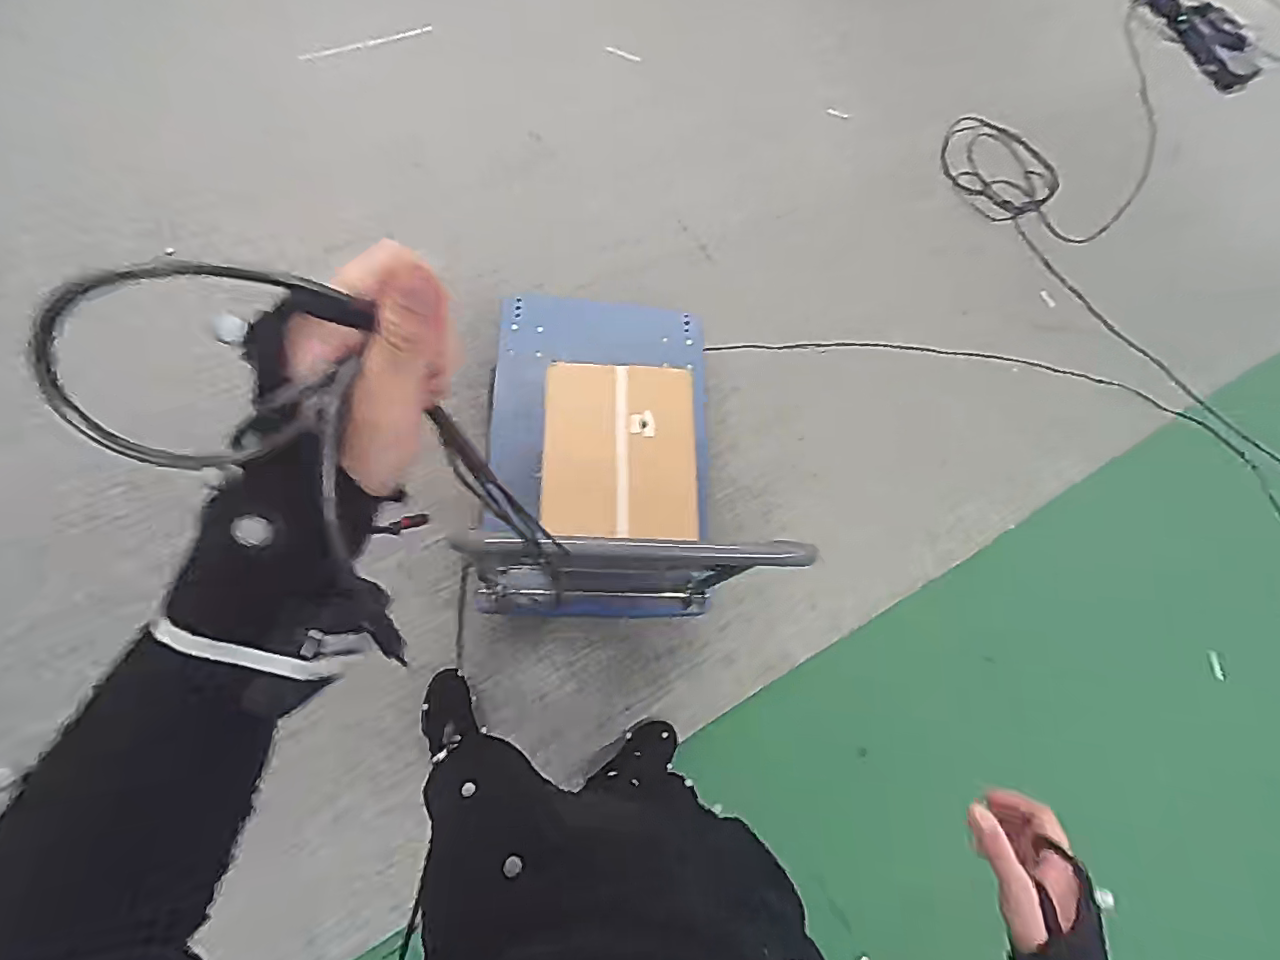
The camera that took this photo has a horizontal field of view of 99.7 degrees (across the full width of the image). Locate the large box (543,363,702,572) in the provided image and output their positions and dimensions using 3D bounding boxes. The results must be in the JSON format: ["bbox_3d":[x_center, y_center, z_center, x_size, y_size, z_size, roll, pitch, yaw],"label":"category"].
[{"bbox_3d":[-0.055,-0.011,1.239,0.320,0.320,0.408,2,73,-9],"label":"large box"}]
